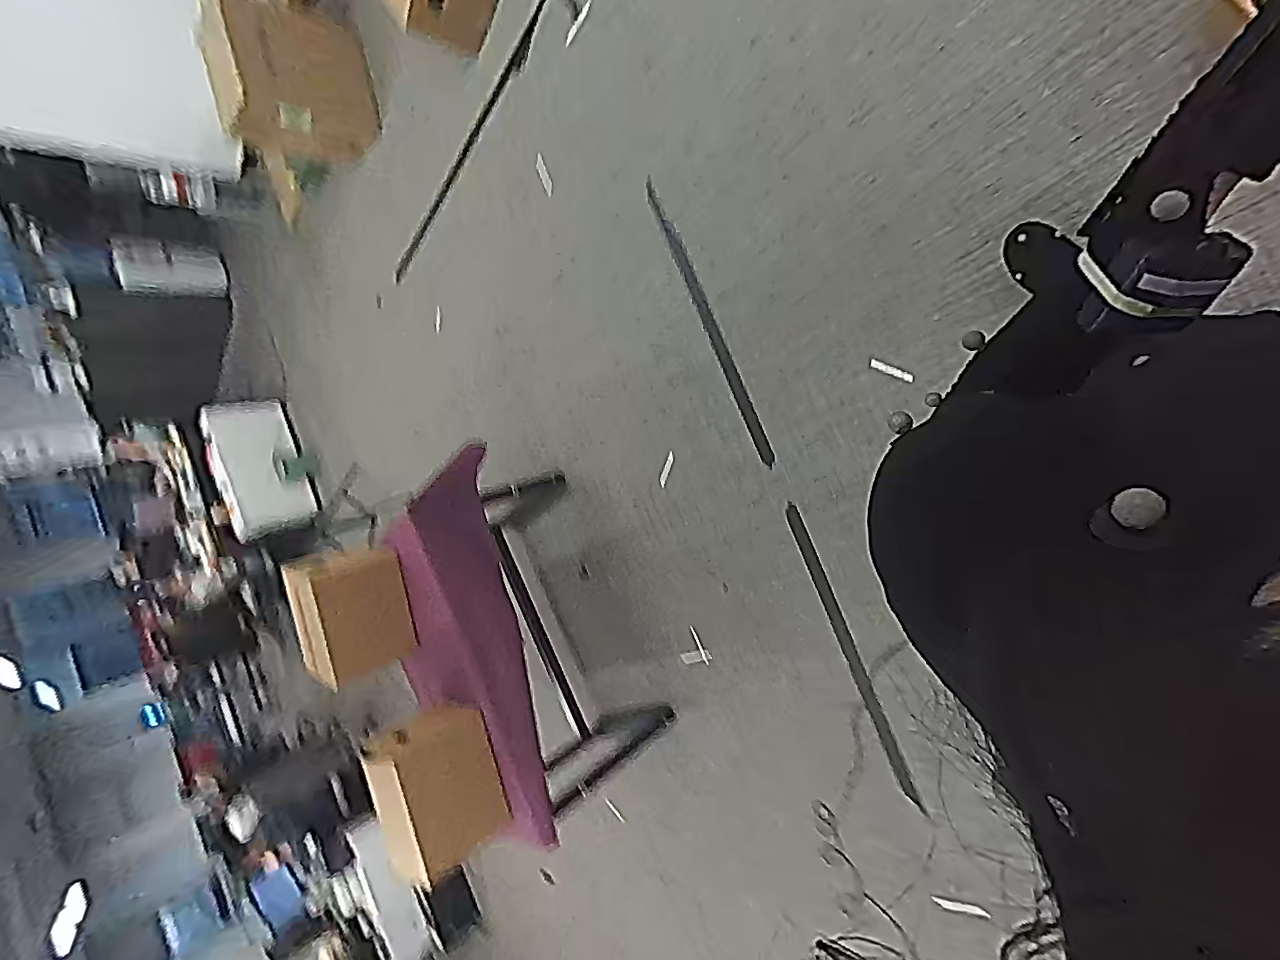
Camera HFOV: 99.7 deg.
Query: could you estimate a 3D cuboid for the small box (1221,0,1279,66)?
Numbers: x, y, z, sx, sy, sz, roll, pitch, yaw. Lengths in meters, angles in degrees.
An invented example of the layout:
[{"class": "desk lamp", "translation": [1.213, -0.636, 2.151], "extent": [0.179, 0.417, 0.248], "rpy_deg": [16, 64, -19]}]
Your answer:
[{"class": "small box", "translation": [1.053, -0.776, 0.823], "extent": [0.168, 0.176, 0.179], "rpy_deg": [-43, 71, 40]}]
